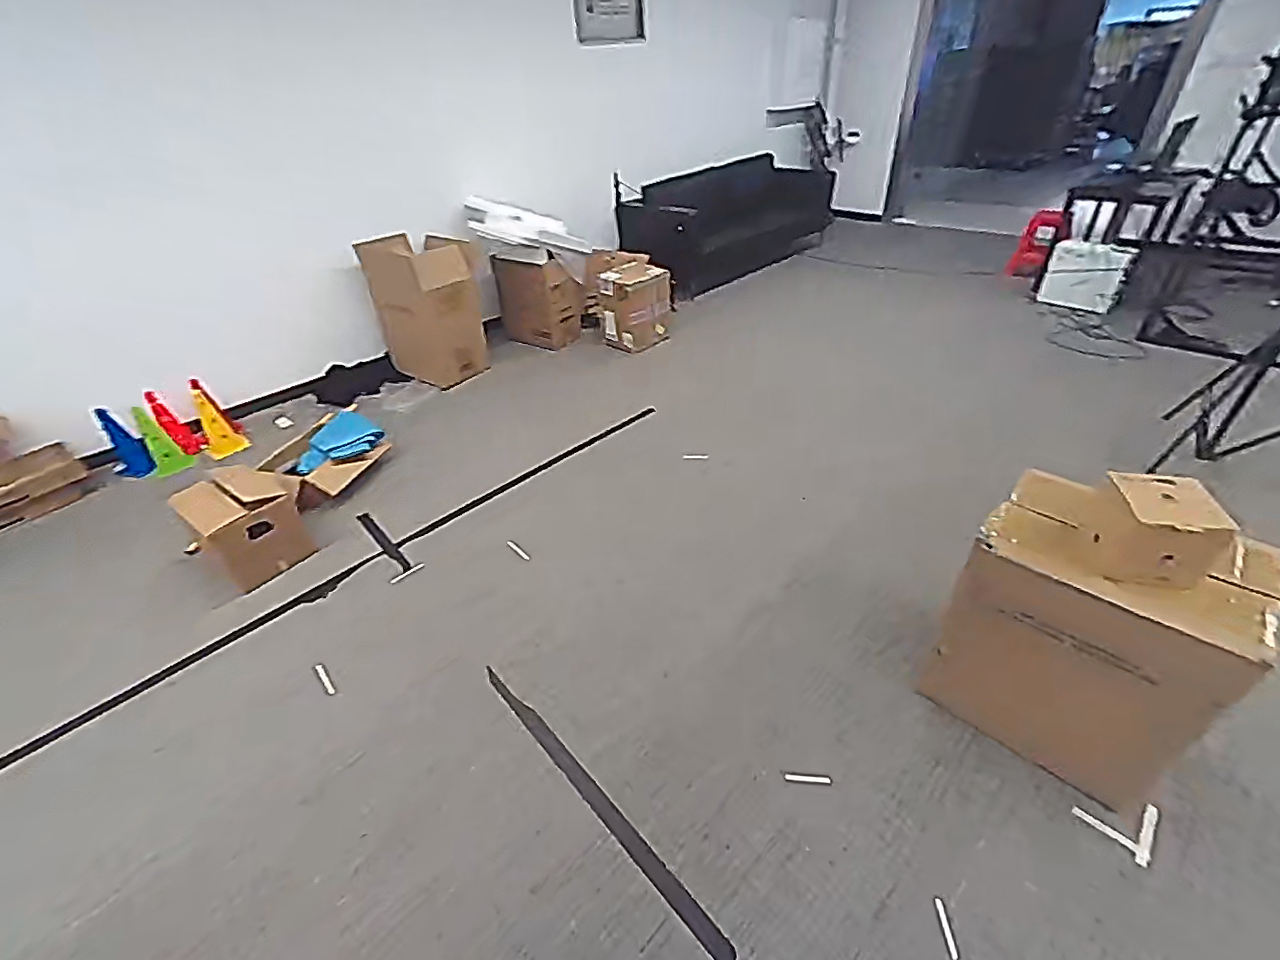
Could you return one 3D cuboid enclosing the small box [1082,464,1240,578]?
[{"bbox_3d":[1.102,0.087,1.164,0.168,0.176,0.179,6,40,15],"label":"small box"}]
